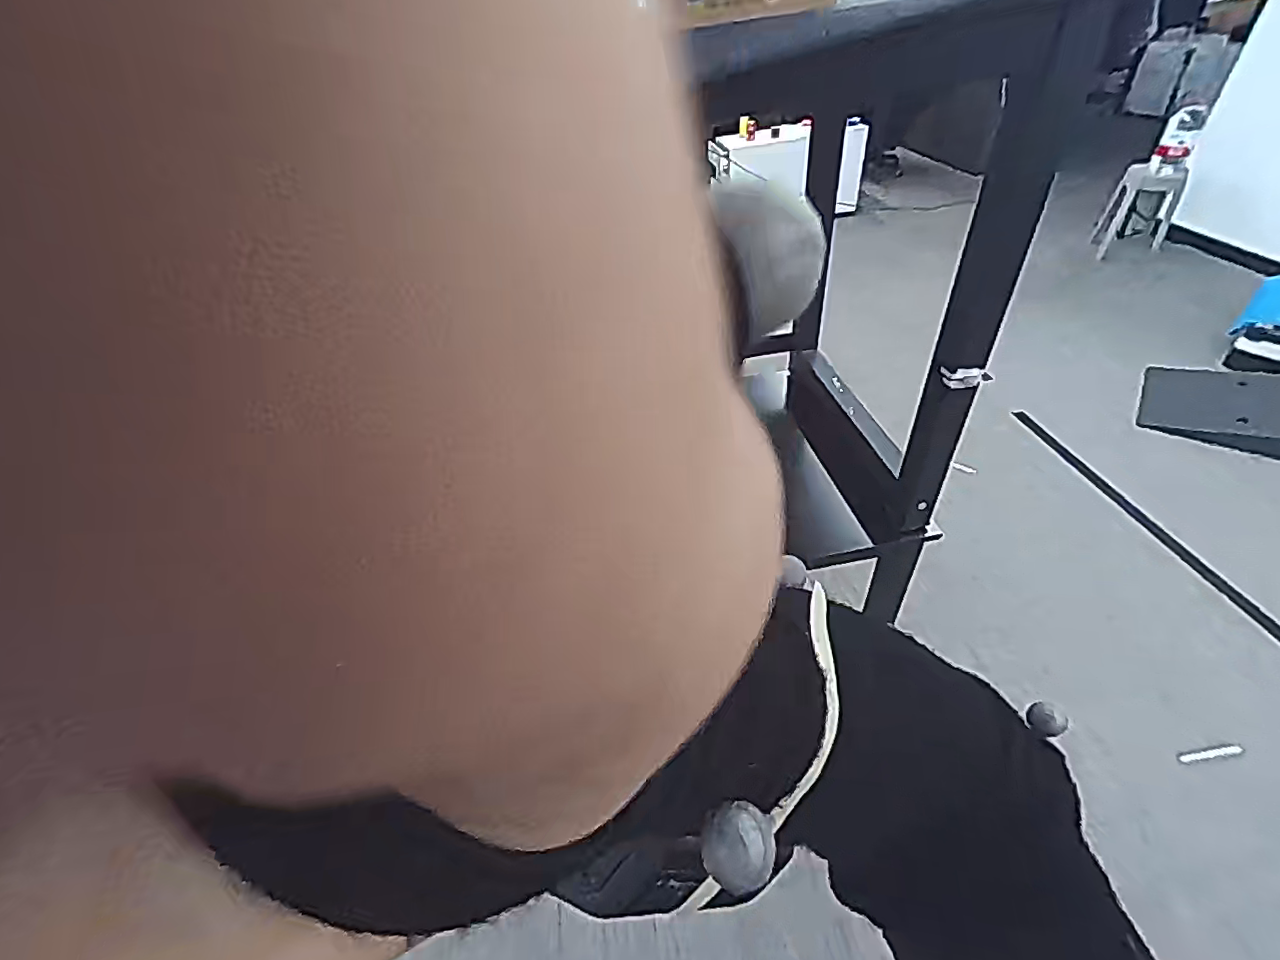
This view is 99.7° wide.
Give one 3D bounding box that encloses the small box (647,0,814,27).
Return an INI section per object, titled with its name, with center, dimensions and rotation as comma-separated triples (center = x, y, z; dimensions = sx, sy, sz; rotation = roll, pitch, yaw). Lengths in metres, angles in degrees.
[small box]
center = 0.086, -0.544, 0.503
dimensions = 0.168, 0.176, 0.179
rotation = -7, 40, 1
